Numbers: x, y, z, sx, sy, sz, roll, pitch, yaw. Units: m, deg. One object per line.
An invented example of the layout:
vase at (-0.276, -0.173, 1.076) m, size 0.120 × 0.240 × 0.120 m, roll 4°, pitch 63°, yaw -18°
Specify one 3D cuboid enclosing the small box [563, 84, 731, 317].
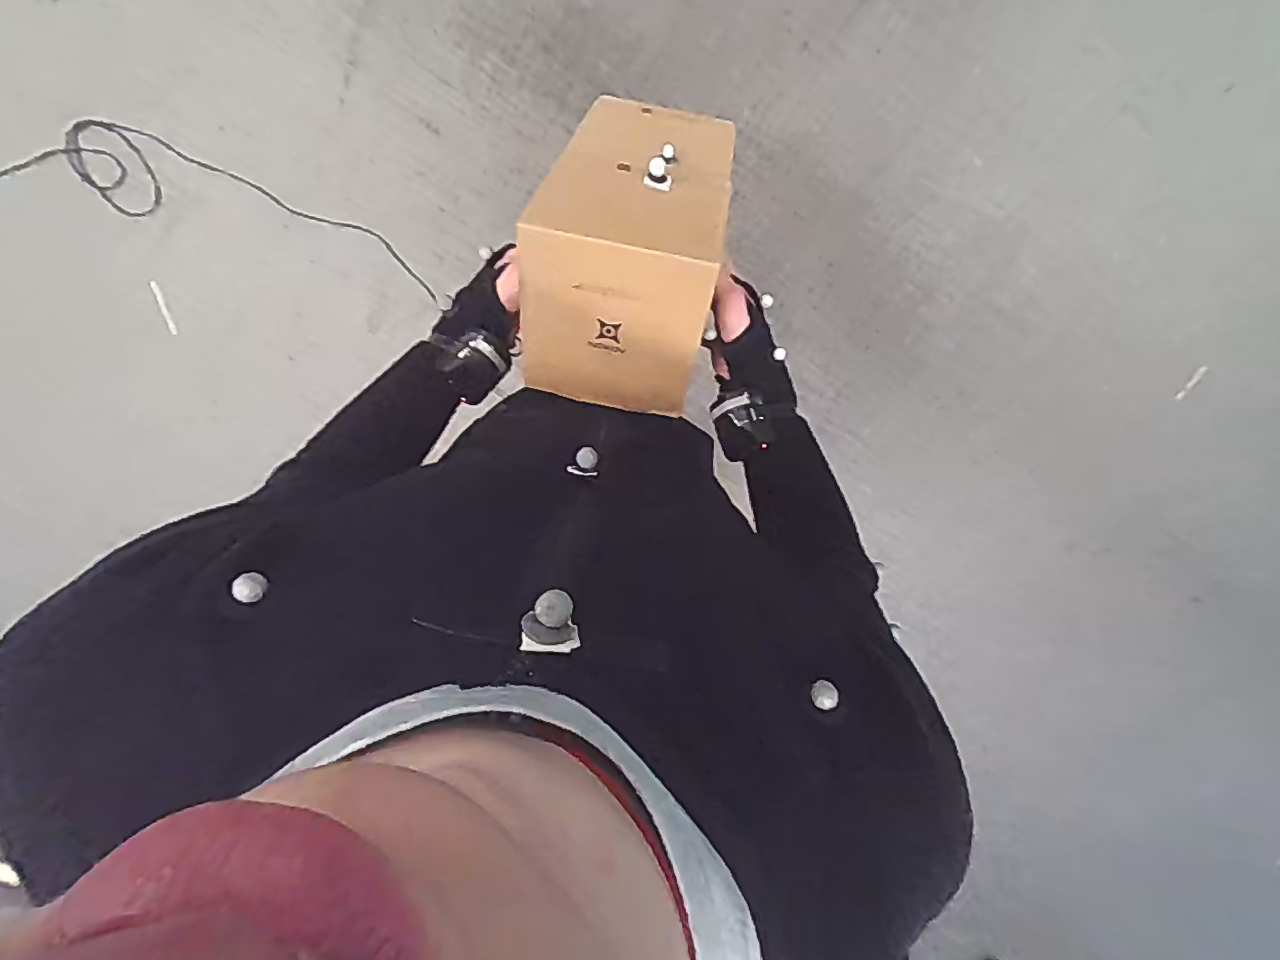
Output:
small box at (0.009, -0.329, 0.644) m, size 0.168 × 0.176 × 0.179 m, roll 11°, pitch 143°, yaw 0°
